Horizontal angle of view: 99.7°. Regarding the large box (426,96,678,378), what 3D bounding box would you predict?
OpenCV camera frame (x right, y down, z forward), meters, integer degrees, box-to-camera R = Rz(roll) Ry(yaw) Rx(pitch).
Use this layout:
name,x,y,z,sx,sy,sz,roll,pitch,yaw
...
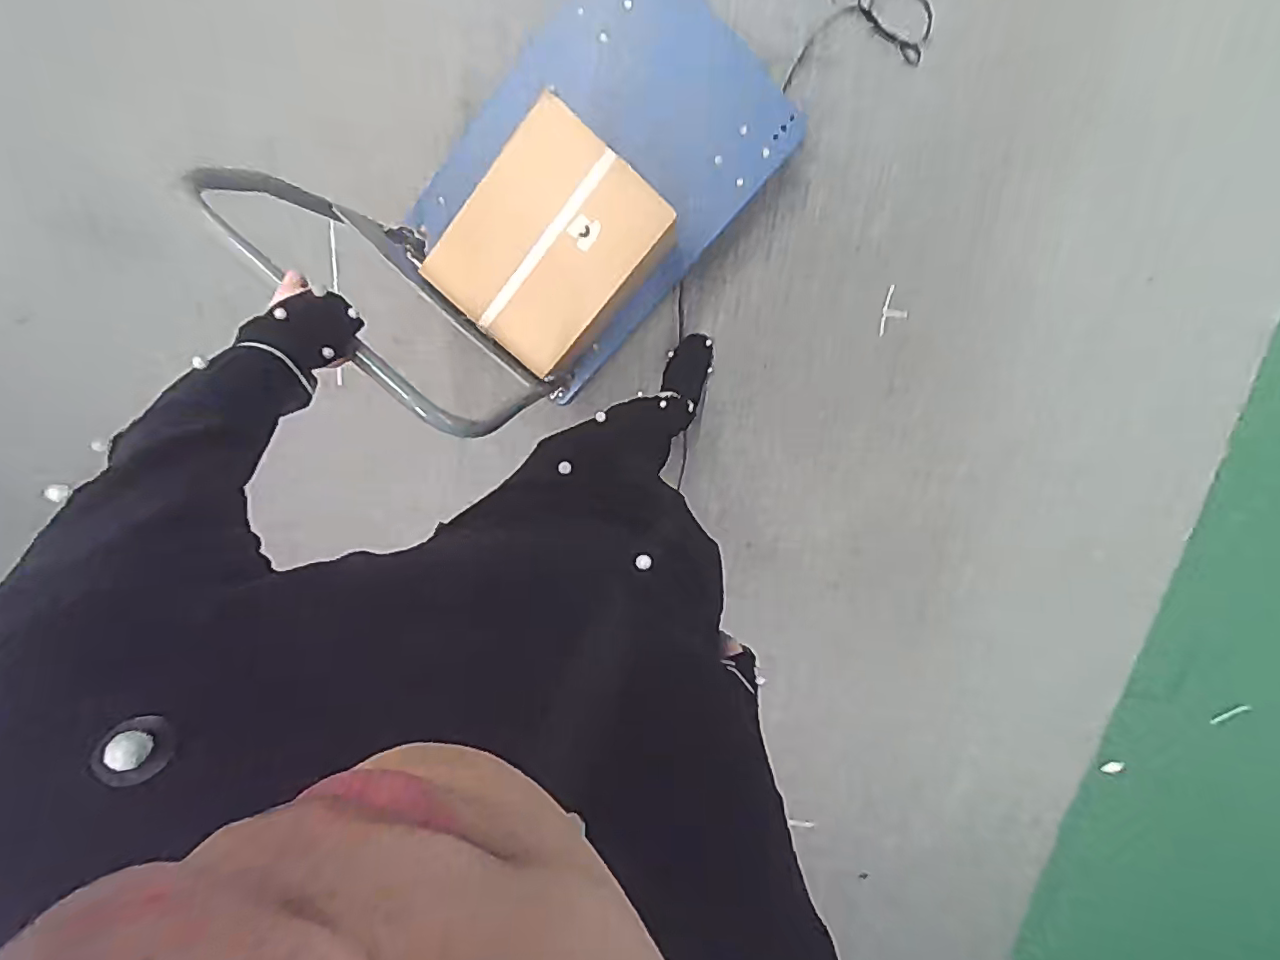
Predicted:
name,x,y,z,sx,sy,sz,roll,pitch,yaw
large box,-0.164,-0.473,1.155,0.320,0.320,0.408,41,102,-9
